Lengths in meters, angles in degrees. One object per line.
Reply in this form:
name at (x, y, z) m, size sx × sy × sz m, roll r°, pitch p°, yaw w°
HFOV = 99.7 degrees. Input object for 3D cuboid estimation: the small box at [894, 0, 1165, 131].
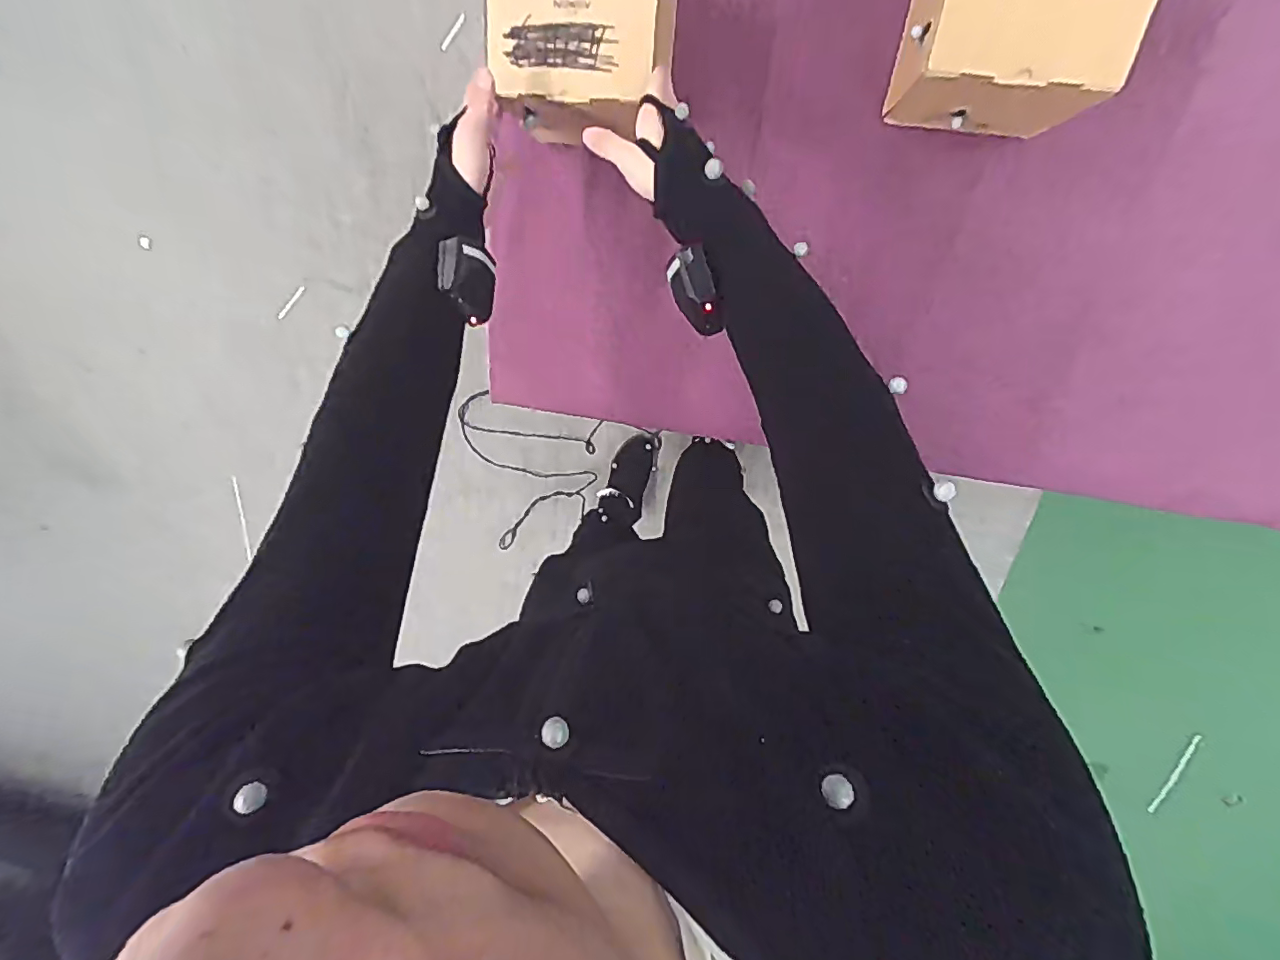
small box at (0.363, -0.457, 0.510) m, size 0.168 × 0.176 × 0.179 m, roll 11°, pitch 114°, yaw 6°
